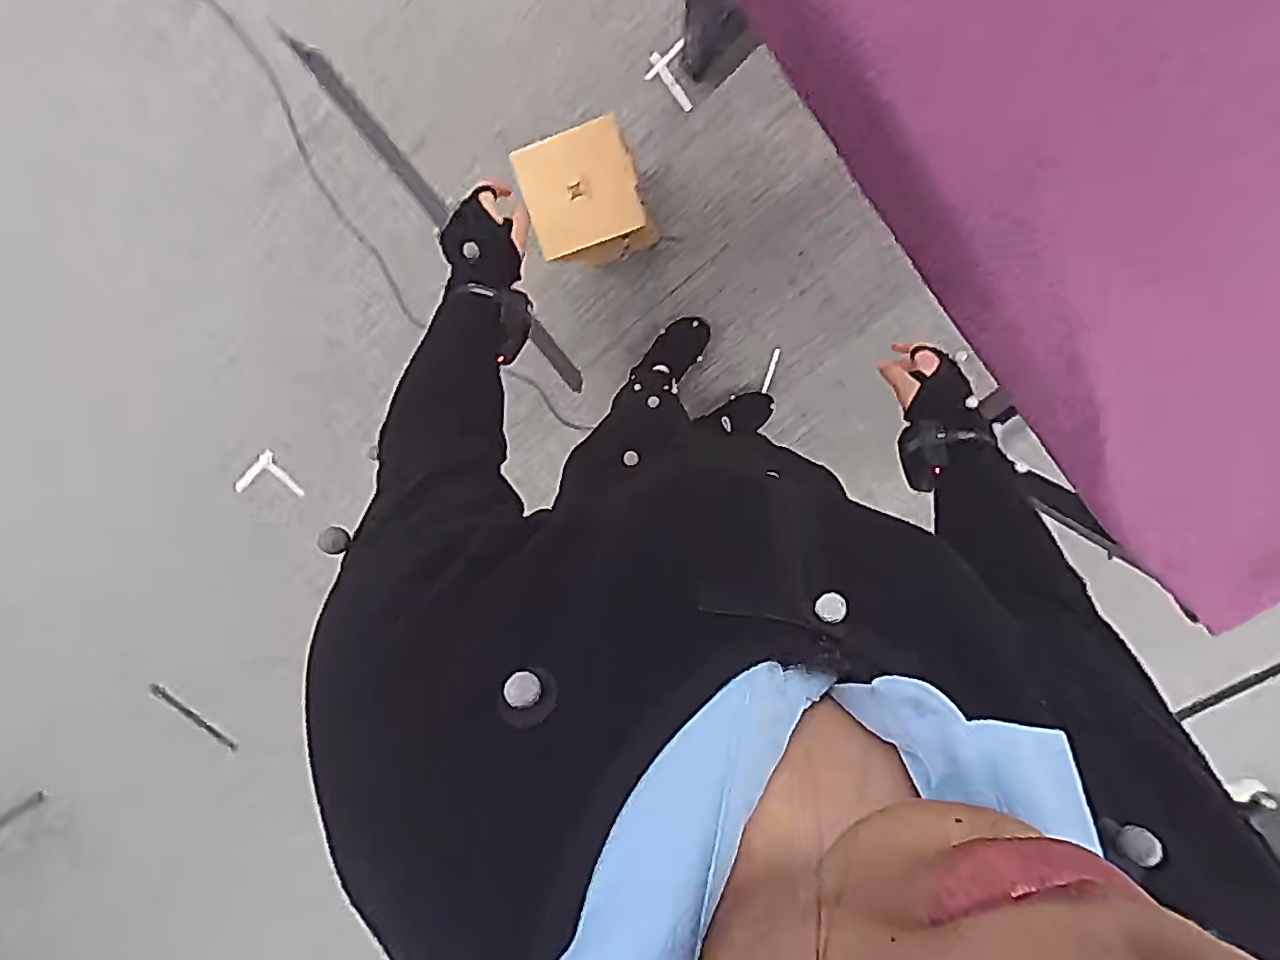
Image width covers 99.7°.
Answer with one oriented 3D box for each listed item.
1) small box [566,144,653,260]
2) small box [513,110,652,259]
[{"bbox_3d":[-0.073,-0.540,1.071,0.179,0.176,0.168,-9,110,7],"label":"small box"},{"bbox_3d":[-0.086,-0.485,0.918,0.179,0.176,0.168,-17,110,10],"label":"small box"}]
